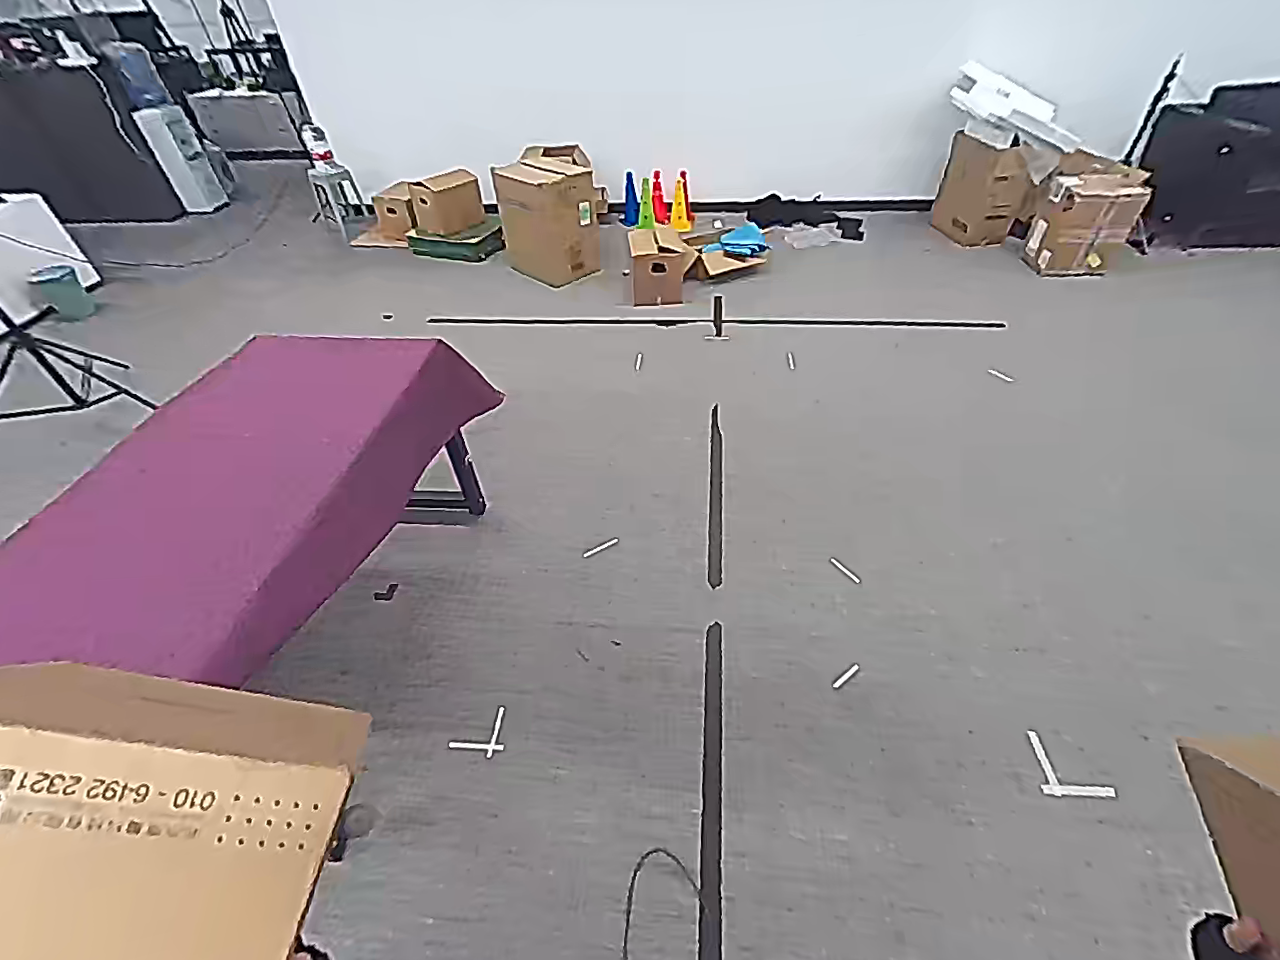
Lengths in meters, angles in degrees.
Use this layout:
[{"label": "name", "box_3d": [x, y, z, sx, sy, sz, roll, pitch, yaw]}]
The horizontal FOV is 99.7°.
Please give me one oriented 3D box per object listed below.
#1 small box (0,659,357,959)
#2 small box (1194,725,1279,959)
[{"label": "small box", "box_3d": [-0.233, 0.172, 0.219, 0.168, 0.179, 0.176, 19, 67, -18]}, {"label": "small box", "box_3d": [0.402, 0.207, 0.234, 0.168, 0.179, 0.176, -14, 72, 26]}]
